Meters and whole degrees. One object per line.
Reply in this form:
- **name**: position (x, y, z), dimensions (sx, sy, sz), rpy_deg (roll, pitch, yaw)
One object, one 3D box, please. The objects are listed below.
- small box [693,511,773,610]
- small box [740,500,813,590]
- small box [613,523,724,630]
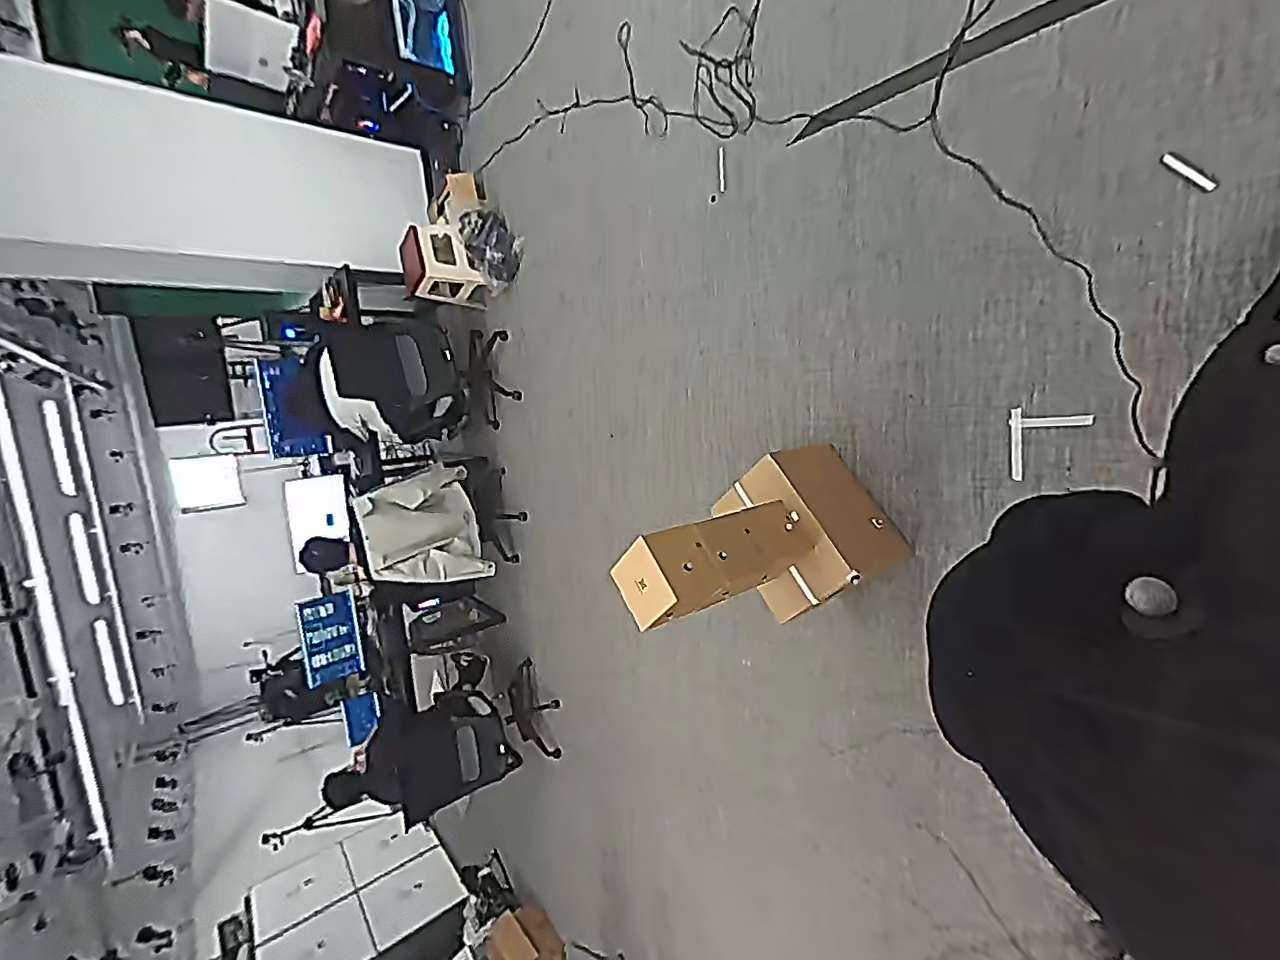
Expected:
- **small box**: position (0.199, 0.200, 1.363), dimensions (0.168, 0.176, 0.179), rpy_deg (60, 139, 23)
- **small box**: position (0.328, 0.174, 1.460), dimensions (0.168, 0.176, 0.179), rpy_deg (60, 138, 24)
- **small box**: position (0.071, 0.220, 1.264), dimensions (0.168, 0.176, 0.179), rpy_deg (60, 139, 24)
